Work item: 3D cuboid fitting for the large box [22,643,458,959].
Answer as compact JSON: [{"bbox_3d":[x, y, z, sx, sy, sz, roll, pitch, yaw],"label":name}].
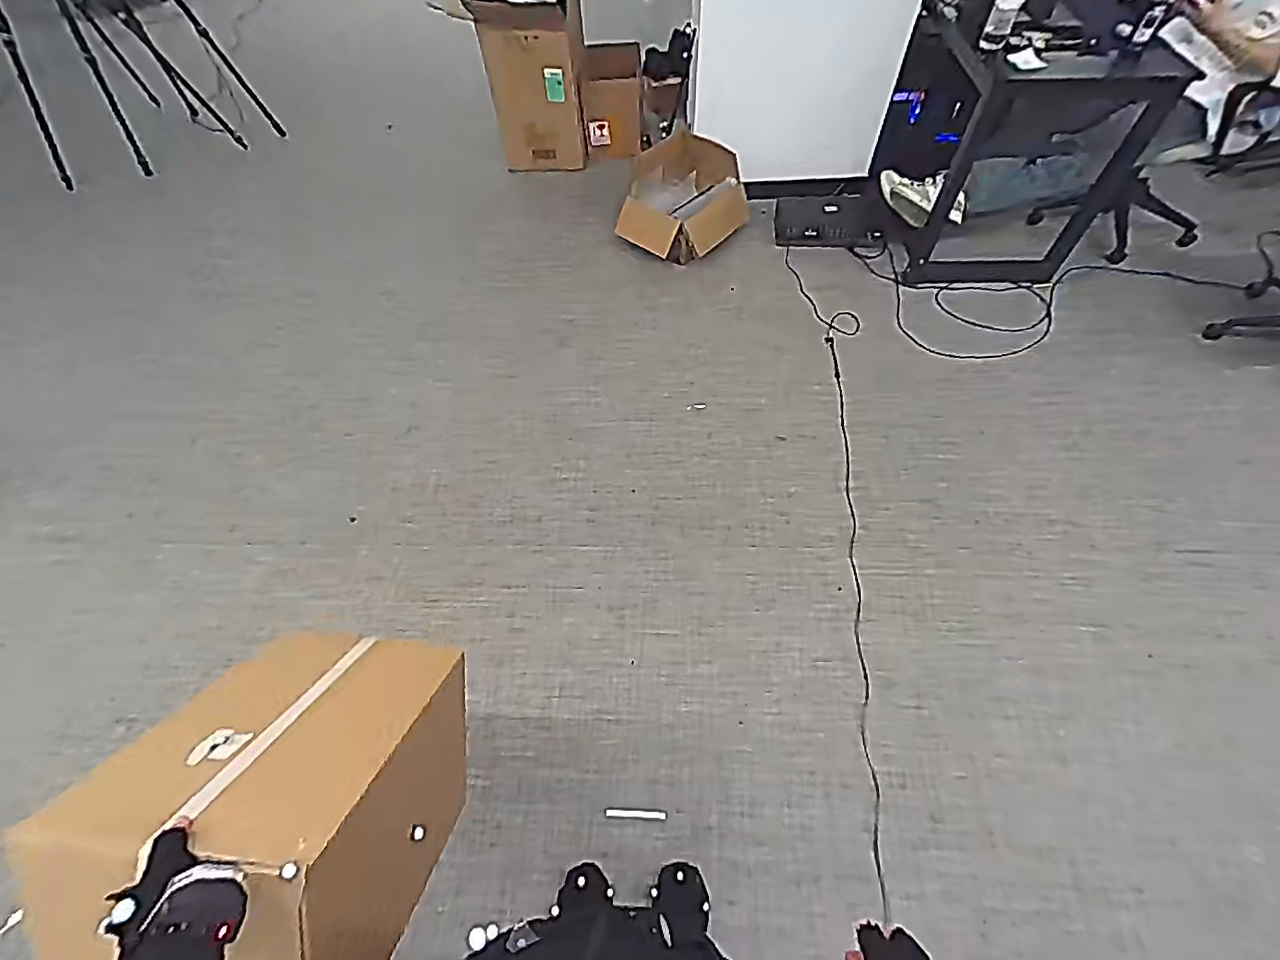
[{"bbox_3d":[-0.479,0.484,0.765,0.320,0.320,0.408,5,13,3],"label":"large box"}]
